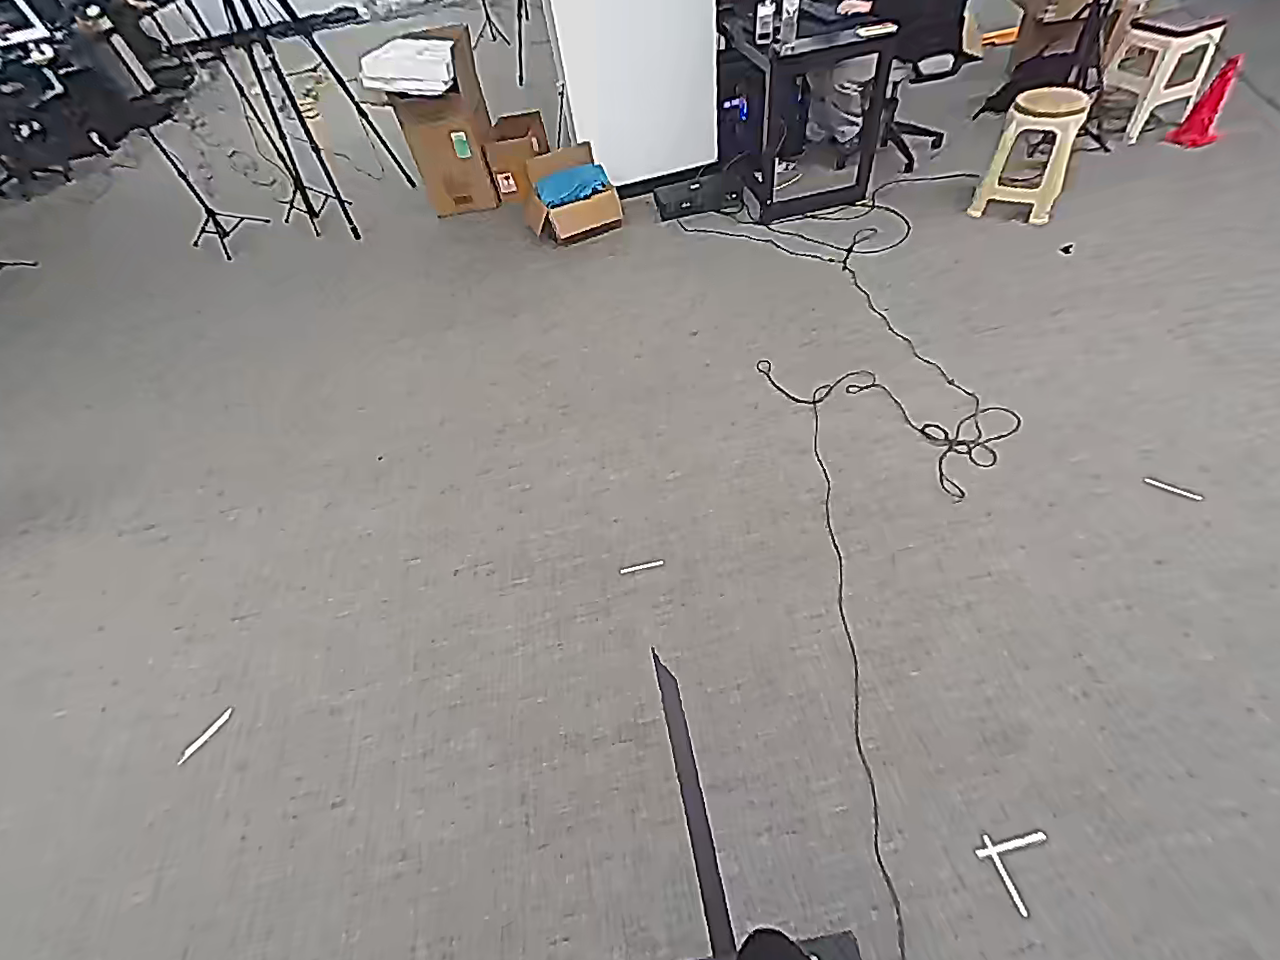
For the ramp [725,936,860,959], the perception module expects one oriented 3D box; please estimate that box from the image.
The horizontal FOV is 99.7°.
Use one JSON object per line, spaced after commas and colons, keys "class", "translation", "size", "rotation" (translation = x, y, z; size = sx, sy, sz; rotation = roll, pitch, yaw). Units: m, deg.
{"class": "ramp", "translation": [0.251, 1.284, 0.715], "size": [0.509, 0.206, 0.991], "rotation": [-13, 50, 0]}
